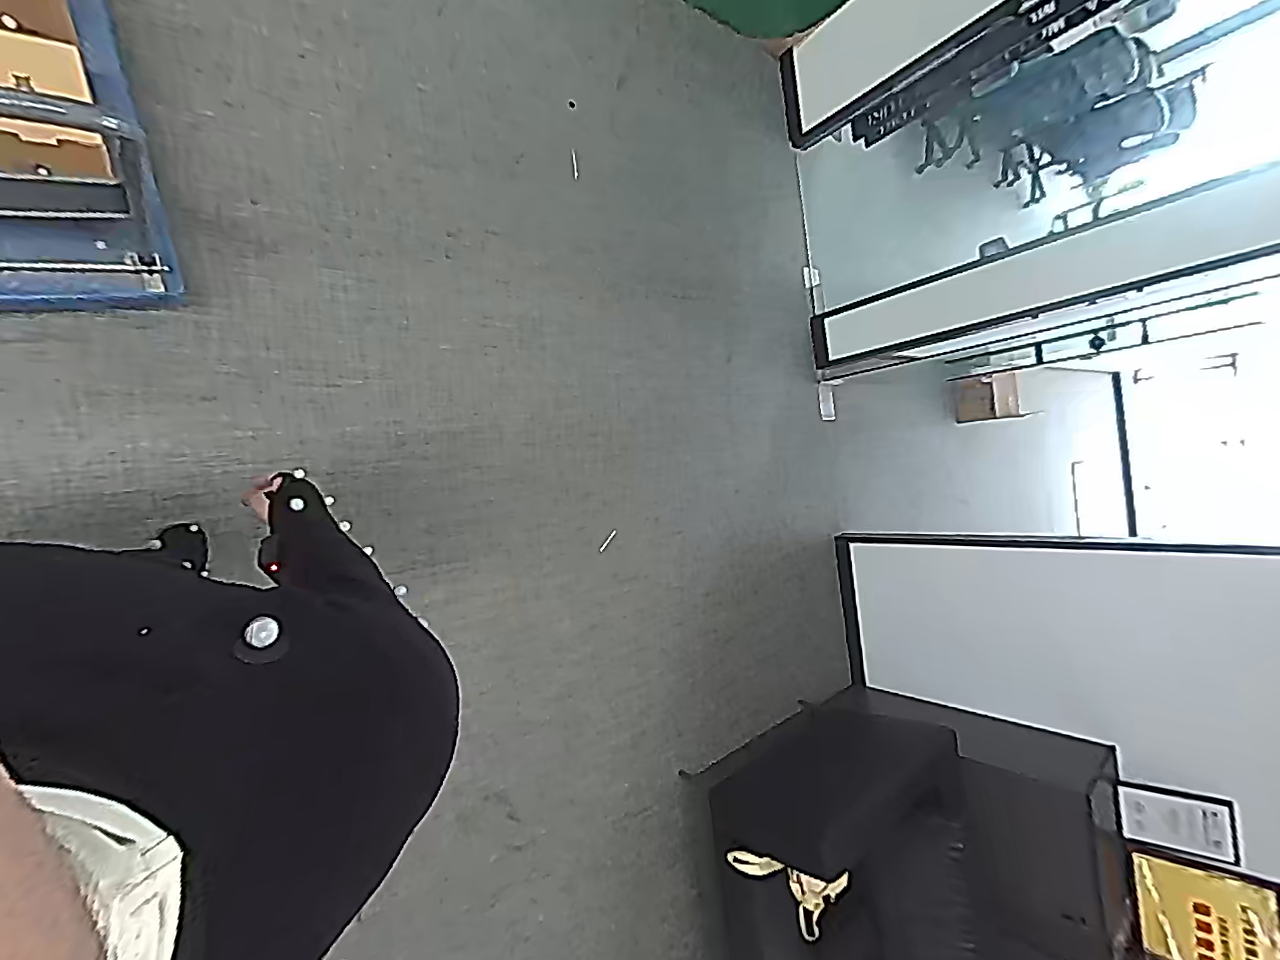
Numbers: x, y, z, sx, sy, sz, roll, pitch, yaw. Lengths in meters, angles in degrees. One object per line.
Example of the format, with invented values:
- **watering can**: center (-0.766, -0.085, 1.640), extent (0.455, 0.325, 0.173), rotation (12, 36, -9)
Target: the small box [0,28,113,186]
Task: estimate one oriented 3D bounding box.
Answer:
- **small box**: center (-1.096, -0.670, 0.980), extent (0.168, 0.176, 0.179), rotation (-15, 97, -38)
